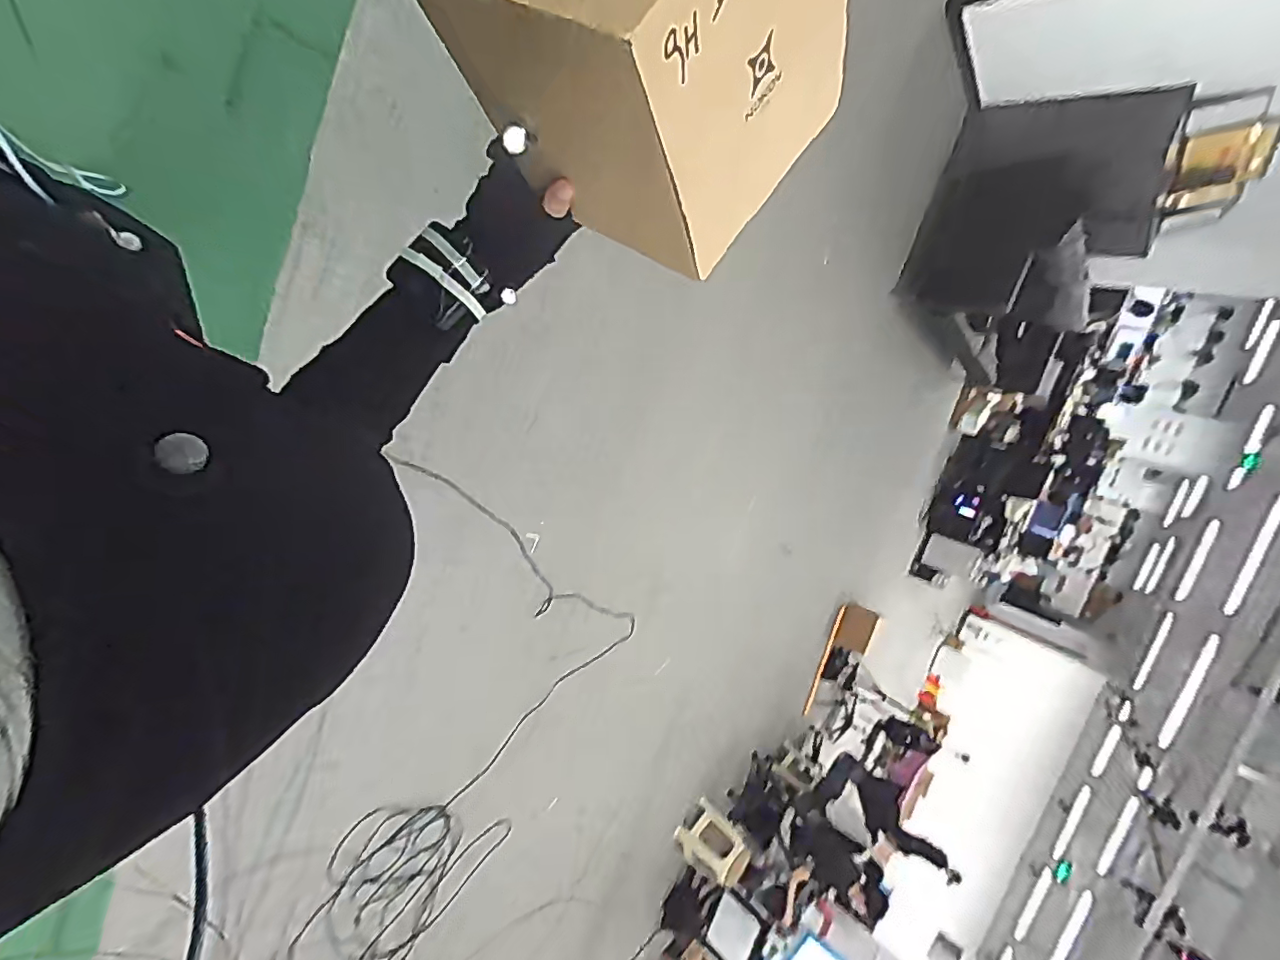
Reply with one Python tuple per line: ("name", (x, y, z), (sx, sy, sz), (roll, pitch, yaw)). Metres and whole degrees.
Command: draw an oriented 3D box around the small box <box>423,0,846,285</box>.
("small box", (0.006, -0.266, 0.336), (0.168, 0.176, 0.179), (-53, 159, -3))
